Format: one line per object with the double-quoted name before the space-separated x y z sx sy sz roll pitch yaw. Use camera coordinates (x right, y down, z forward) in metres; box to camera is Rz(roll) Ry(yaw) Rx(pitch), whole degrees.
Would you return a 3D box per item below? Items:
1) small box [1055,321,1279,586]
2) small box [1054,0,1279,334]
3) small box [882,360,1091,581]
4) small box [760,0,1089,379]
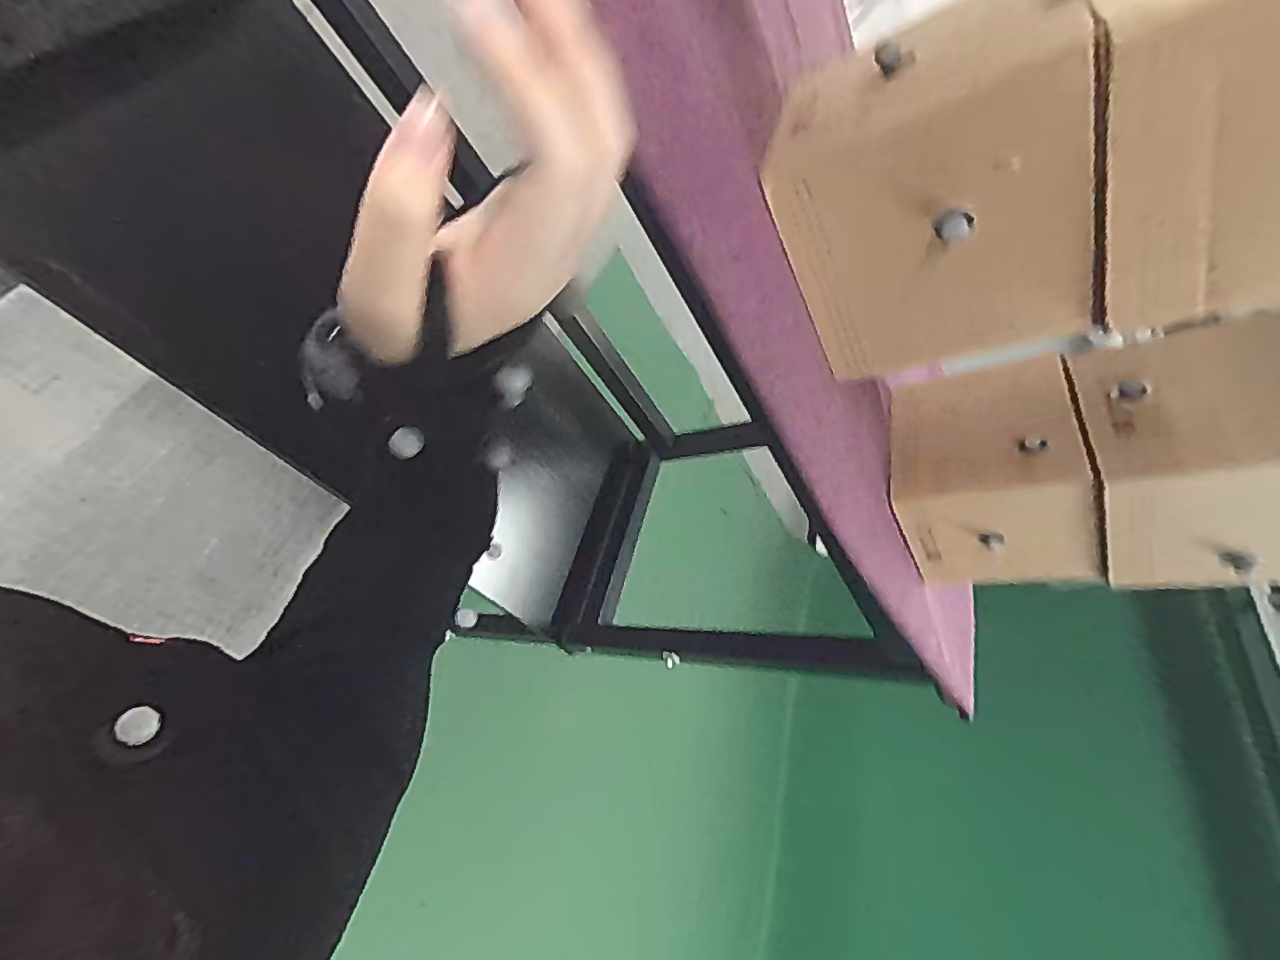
"small box" 0.504 -0.013 0.503 0.179 0.176 0.168 49 44 -35
"small box" 0.336 -0.211 0.300 0.179 0.176 0.168 55 43 -36
"small box" 0.377 0.001 0.605 0.168 0.176 0.179 51 44 -36
"small box" 0.201 -0.199 0.392 0.179 0.176 0.168 51 45 -37
